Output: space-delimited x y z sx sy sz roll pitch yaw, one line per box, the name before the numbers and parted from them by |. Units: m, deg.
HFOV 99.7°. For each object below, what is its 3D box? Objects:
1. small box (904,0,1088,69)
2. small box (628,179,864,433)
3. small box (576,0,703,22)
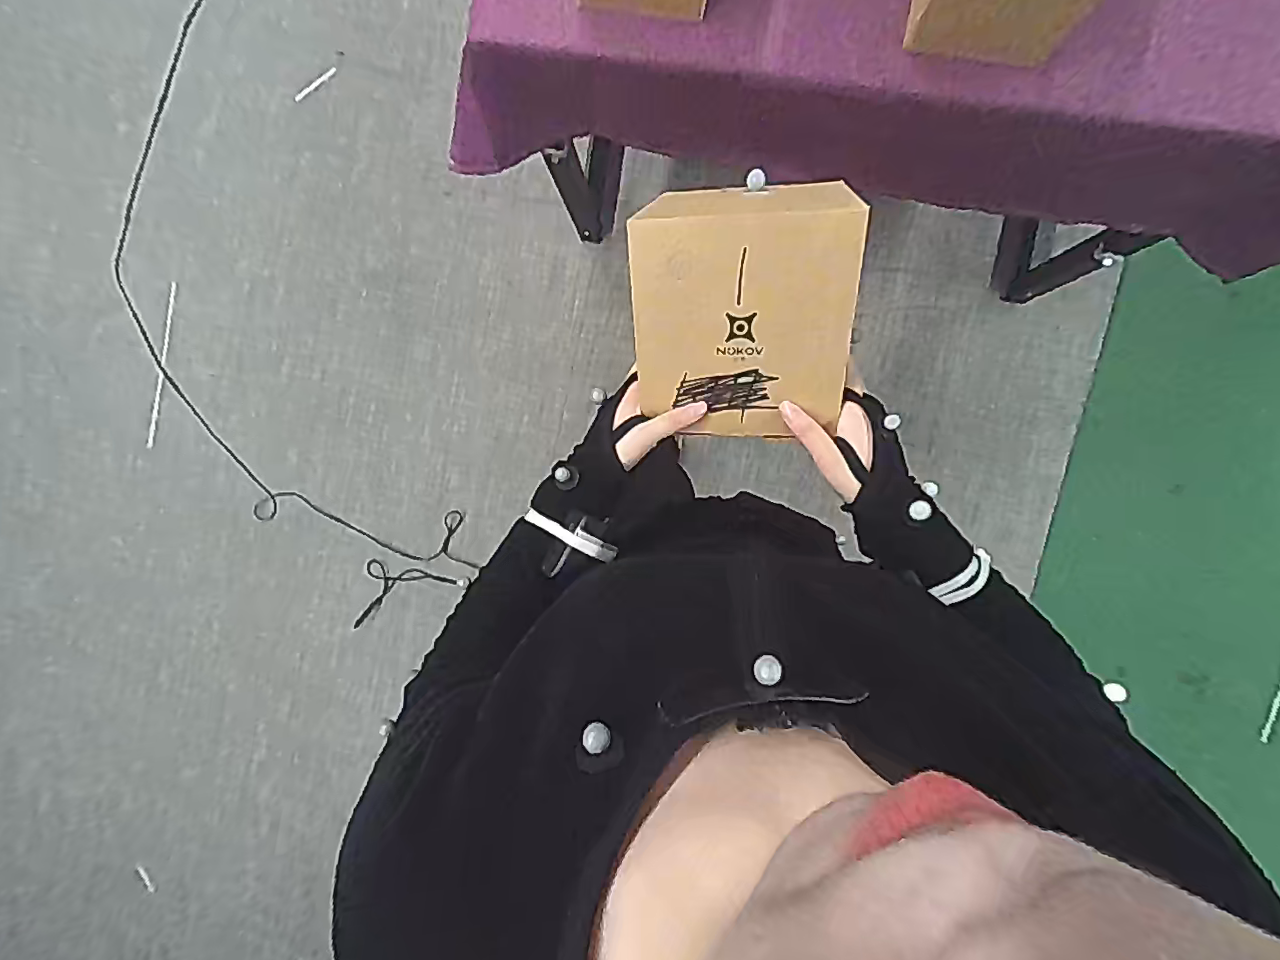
small box | 0.435 -0.619 0.621 0.179 0.176 0.168 12 93 3
small box | 0.090 -0.160 0.484 0.168 0.176 0.179 3 123 11
small box | 0.003 -0.703 0.648 0.179 0.176 0.168 10 93 2
